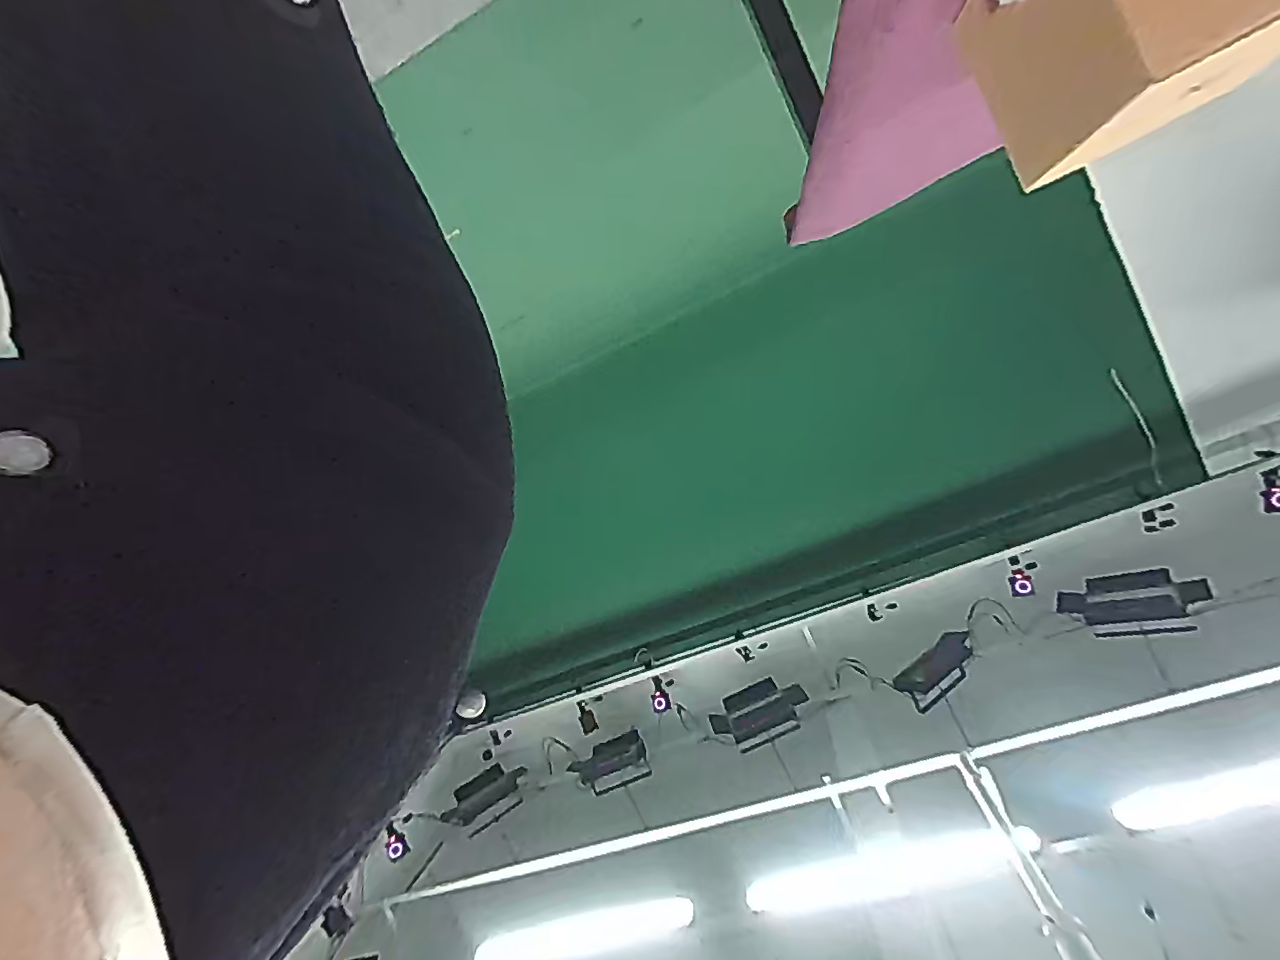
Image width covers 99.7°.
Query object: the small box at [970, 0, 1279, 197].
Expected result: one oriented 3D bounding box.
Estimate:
[{"bbox_3d":[0.381,-0.351,0.383,0.179,0.176,0.168,-24,-179,13],"label":"small box"}]
